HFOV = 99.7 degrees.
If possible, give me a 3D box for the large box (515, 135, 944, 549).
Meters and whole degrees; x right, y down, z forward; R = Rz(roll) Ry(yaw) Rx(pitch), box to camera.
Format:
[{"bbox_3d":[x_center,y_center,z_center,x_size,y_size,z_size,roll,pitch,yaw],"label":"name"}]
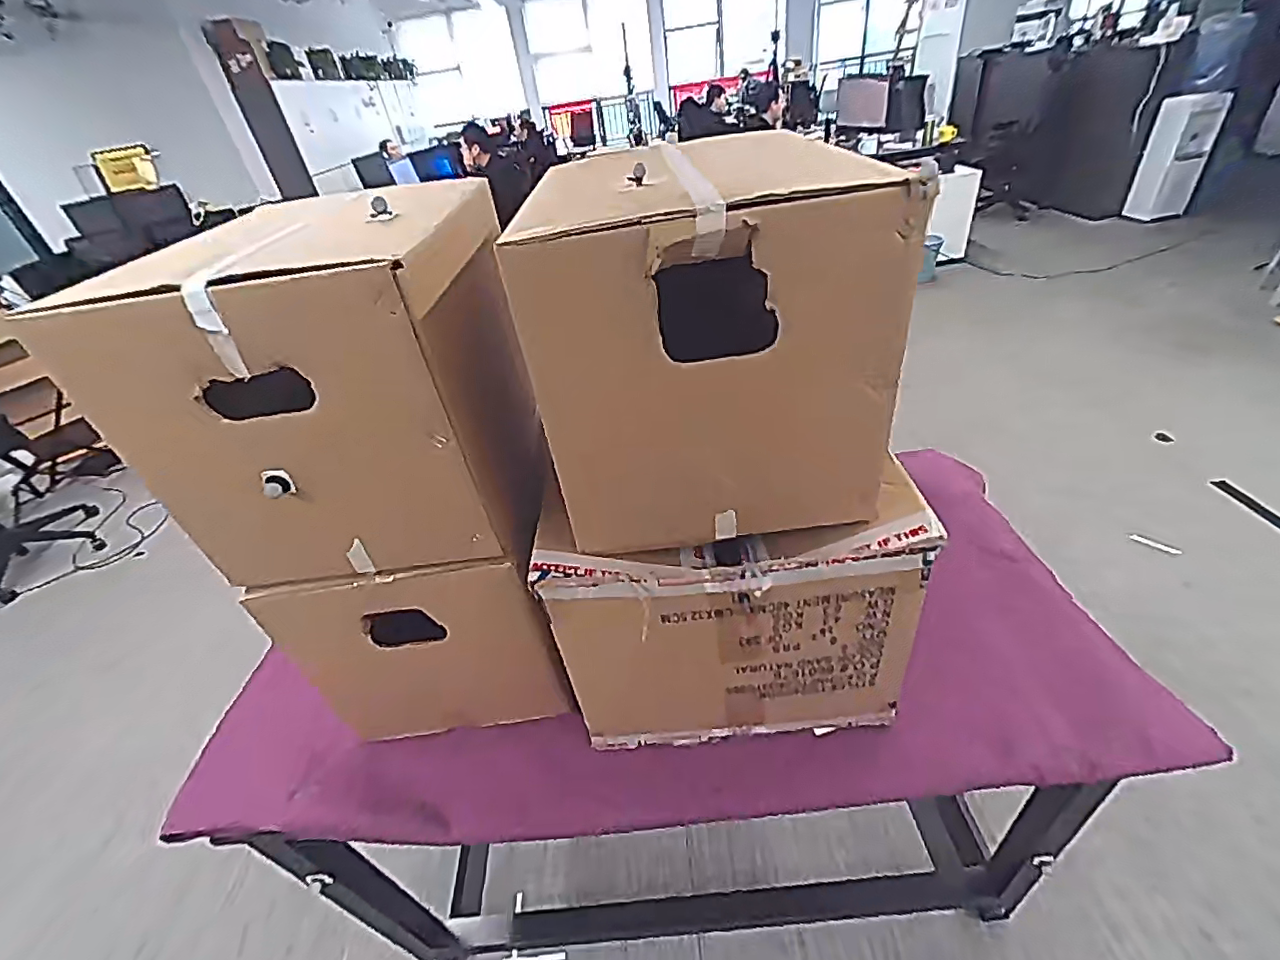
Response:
[{"bbox_3d":[0.067,-0.181,0.625,0.320,0.320,0.408,-8,37,3],"label":"large box"}]
